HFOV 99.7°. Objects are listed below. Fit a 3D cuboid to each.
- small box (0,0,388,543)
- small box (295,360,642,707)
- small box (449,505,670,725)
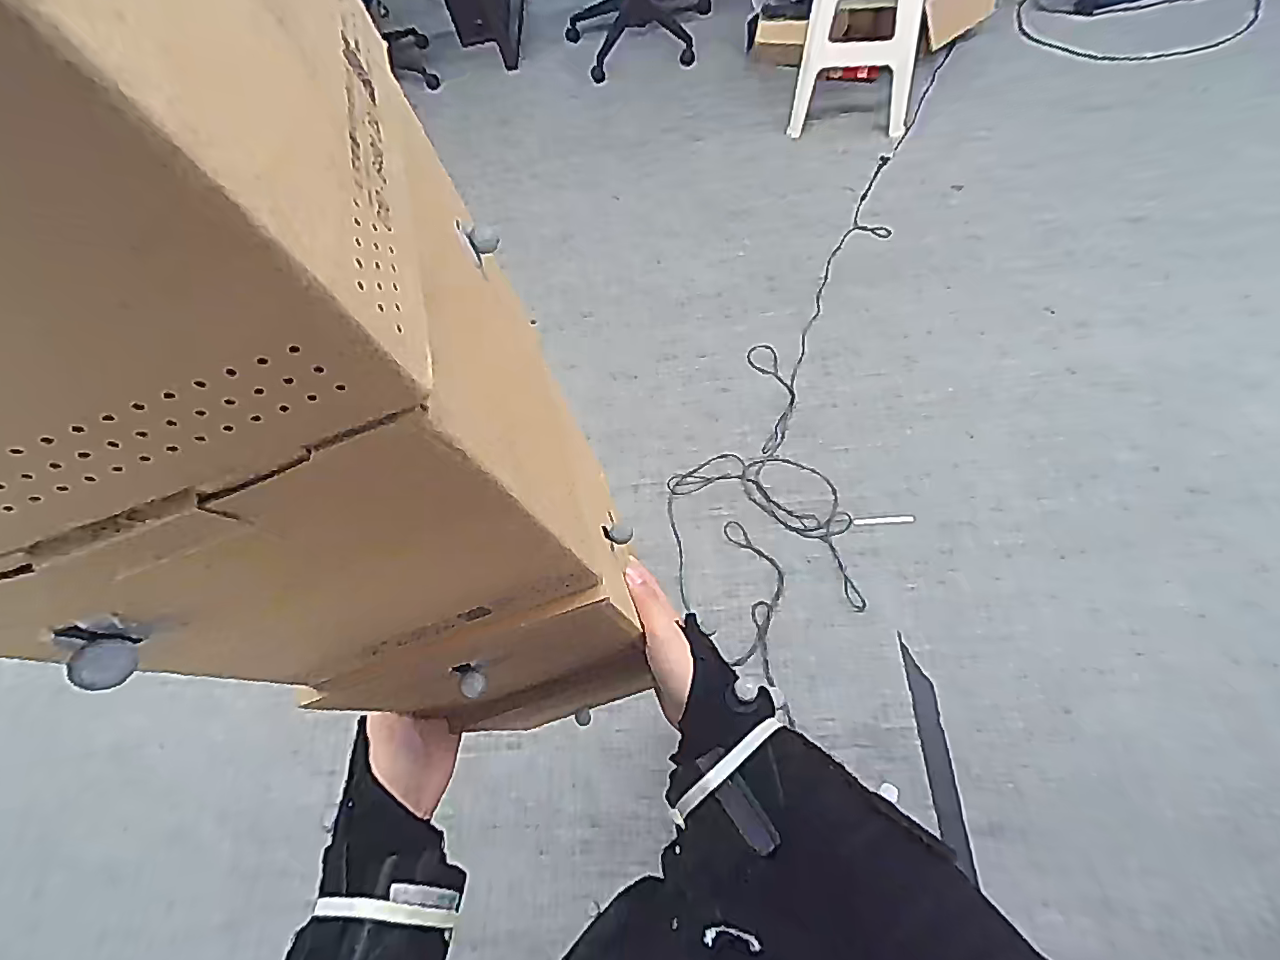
[{"bbox_3d":[-0.166,-0.093,0.096,0.179,0.176,0.168,-20,62,3],"label":"small box"},{"bbox_3d":[-0.105,0.051,0.386,0.179,0.176,0.168,-20,64,2],"label":"small box"},{"bbox_3d":[-0.079,0.127,0.528,0.168,0.176,0.179,-19,64,2],"label":"small box"}]
